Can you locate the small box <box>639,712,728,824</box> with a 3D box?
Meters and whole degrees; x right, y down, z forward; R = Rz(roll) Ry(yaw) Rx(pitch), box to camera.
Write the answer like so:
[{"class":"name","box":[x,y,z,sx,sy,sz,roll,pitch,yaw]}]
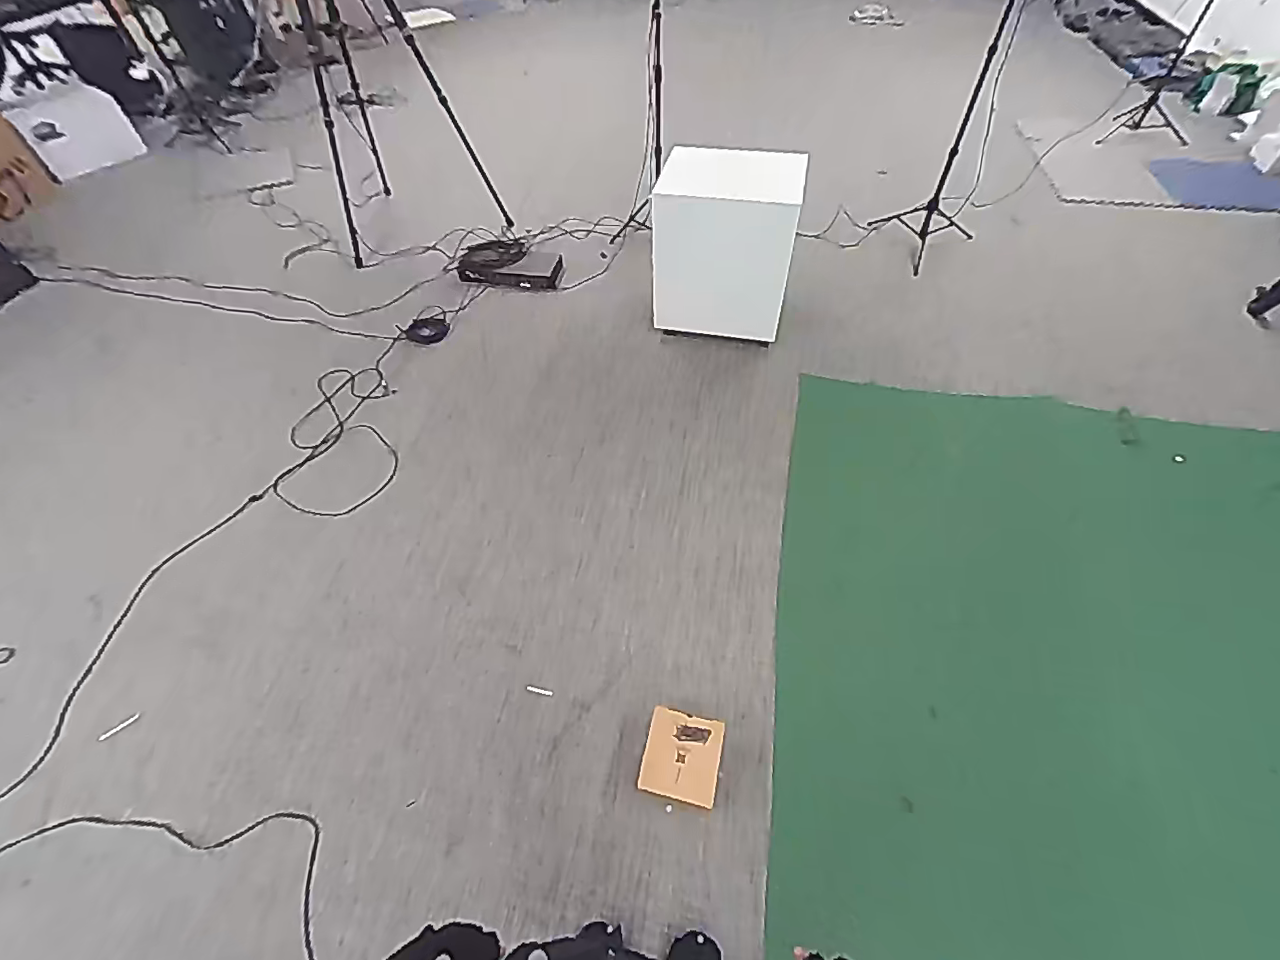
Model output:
[{"class":"small box","box":[0.099,0.662,1.240,0.168,0.176,0.179,11,54,10]}]
